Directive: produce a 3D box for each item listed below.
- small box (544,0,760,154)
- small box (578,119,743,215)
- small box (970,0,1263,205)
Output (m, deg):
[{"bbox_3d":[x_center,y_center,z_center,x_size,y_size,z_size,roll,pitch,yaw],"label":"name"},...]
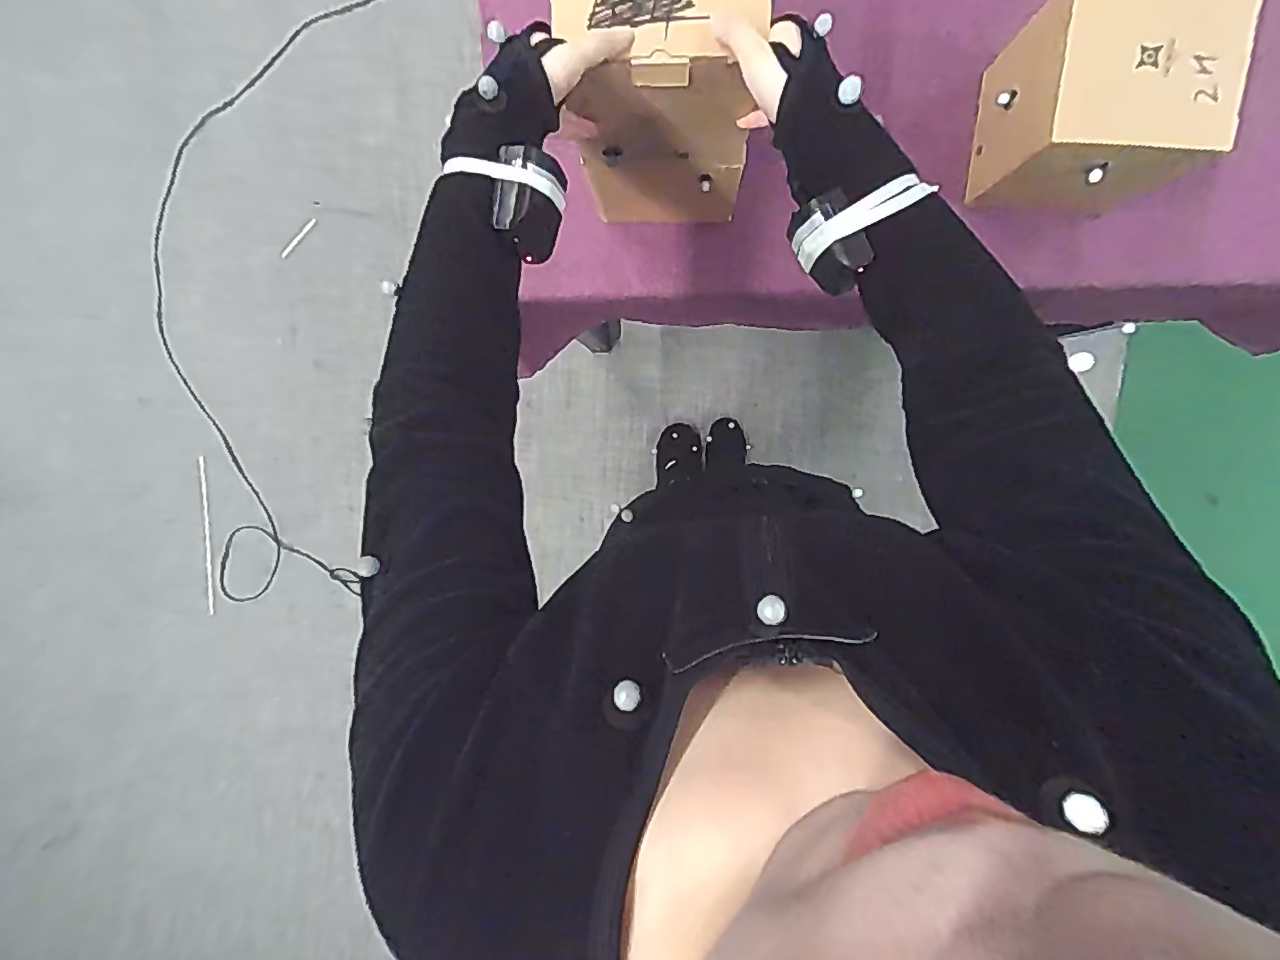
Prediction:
[{"bbox_3d":[0.015,-0.414,0.478,0.168,0.176,0.179,1,96,3],"label":"small box"},{"bbox_3d":[0.028,-0.429,0.641,0.179,0.176,0.168,2,97,4],"label":"small box"},{"bbox_3d":[0.505,-0.425,0.601,0.179,0.176,0.168,6,98,4],"label":"small box"}]
